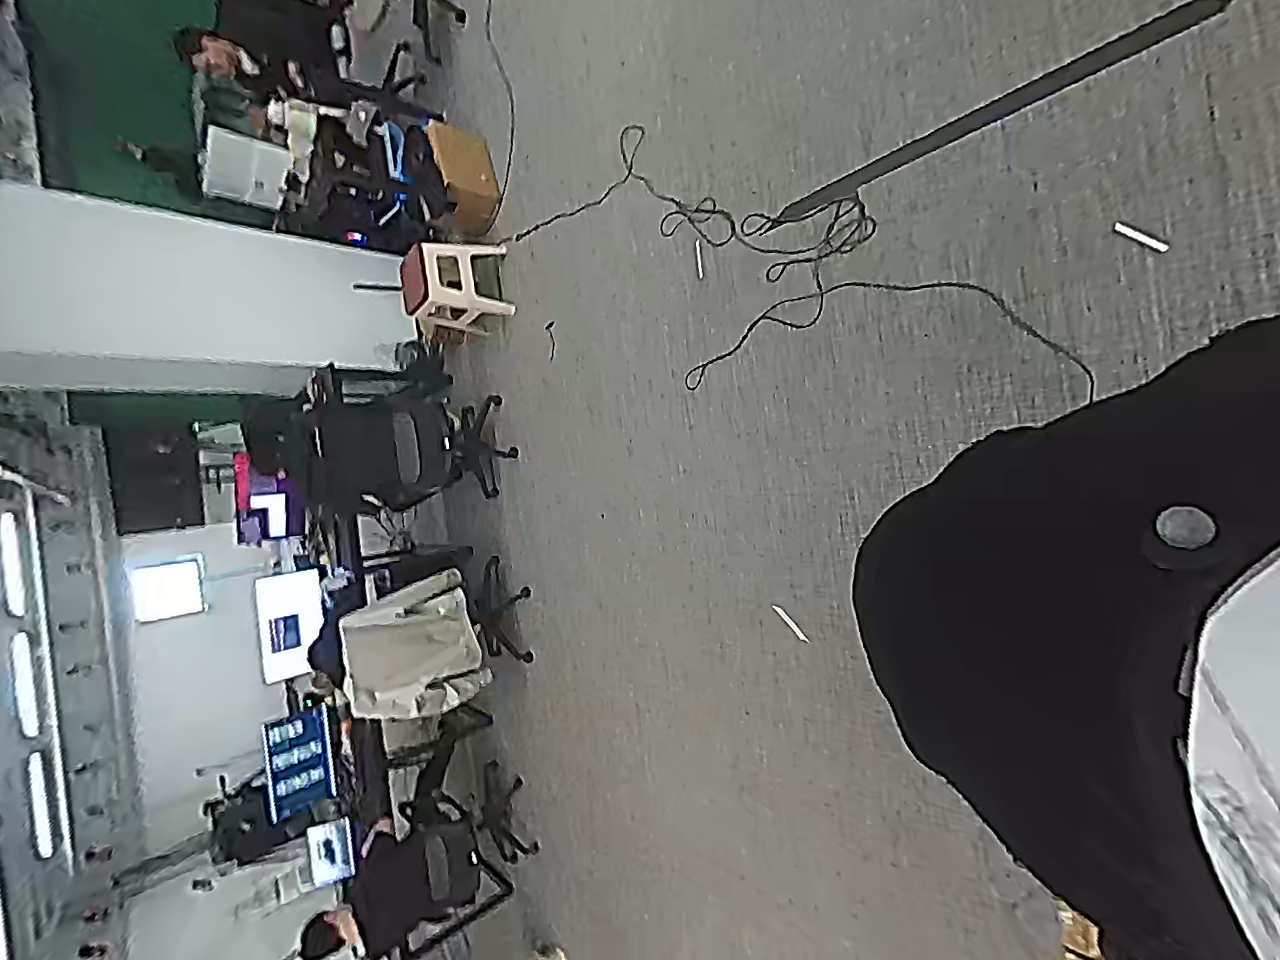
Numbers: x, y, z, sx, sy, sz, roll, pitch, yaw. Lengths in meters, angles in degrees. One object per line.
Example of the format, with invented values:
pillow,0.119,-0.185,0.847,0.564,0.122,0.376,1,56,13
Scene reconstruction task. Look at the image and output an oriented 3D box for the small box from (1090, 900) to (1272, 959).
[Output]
small box,0.638,0.650,0.621,0.168,0.176,0.179,-6,89,46
